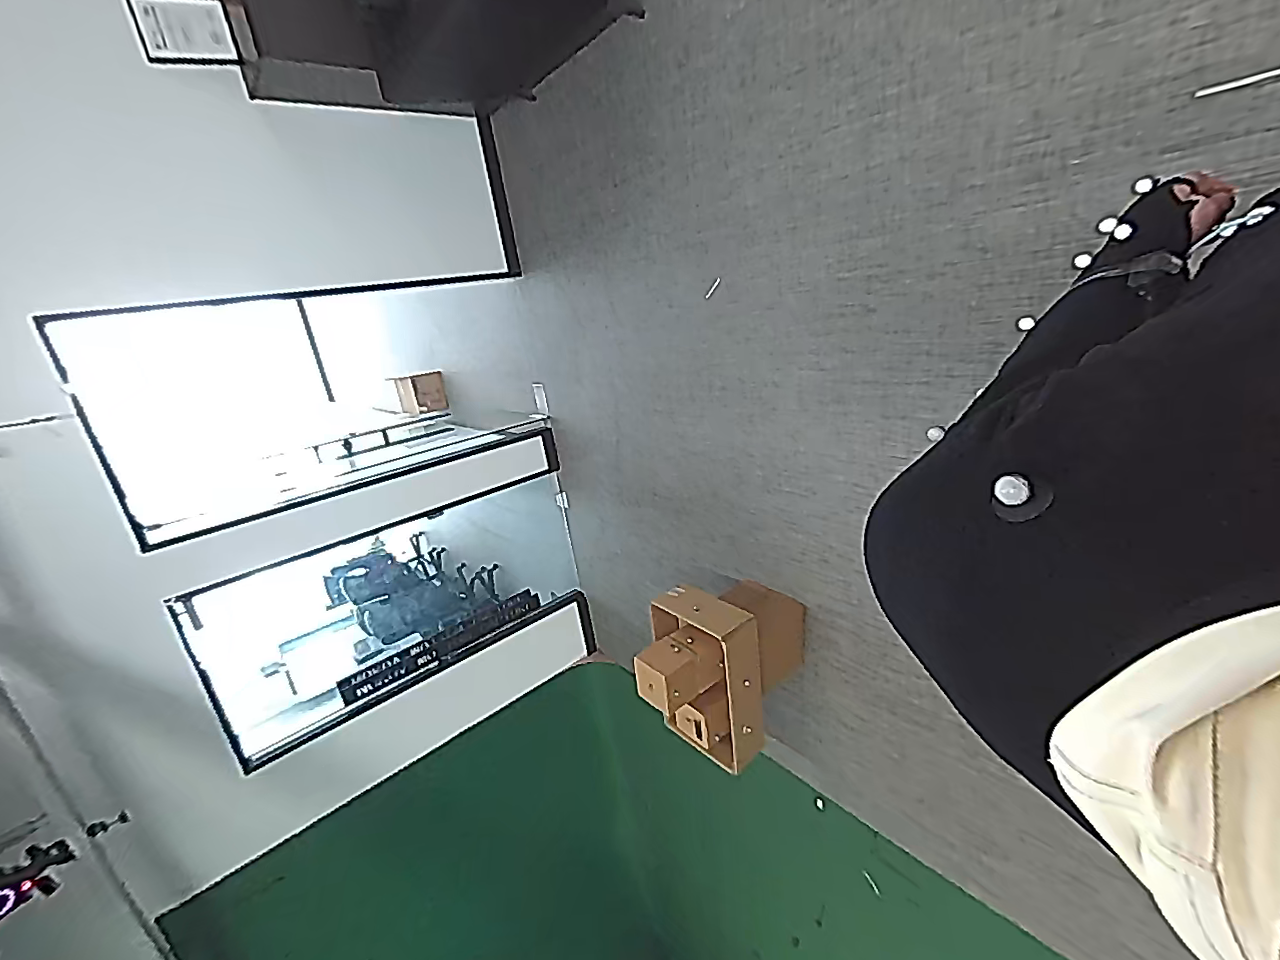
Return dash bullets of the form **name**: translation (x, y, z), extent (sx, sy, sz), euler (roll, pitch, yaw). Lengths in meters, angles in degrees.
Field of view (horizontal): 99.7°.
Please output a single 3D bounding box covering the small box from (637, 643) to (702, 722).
- **small box**: translation (0.111, 0.725, 1.953), extent (0.168, 0.176, 0.179), euler (15, 118, 47)
